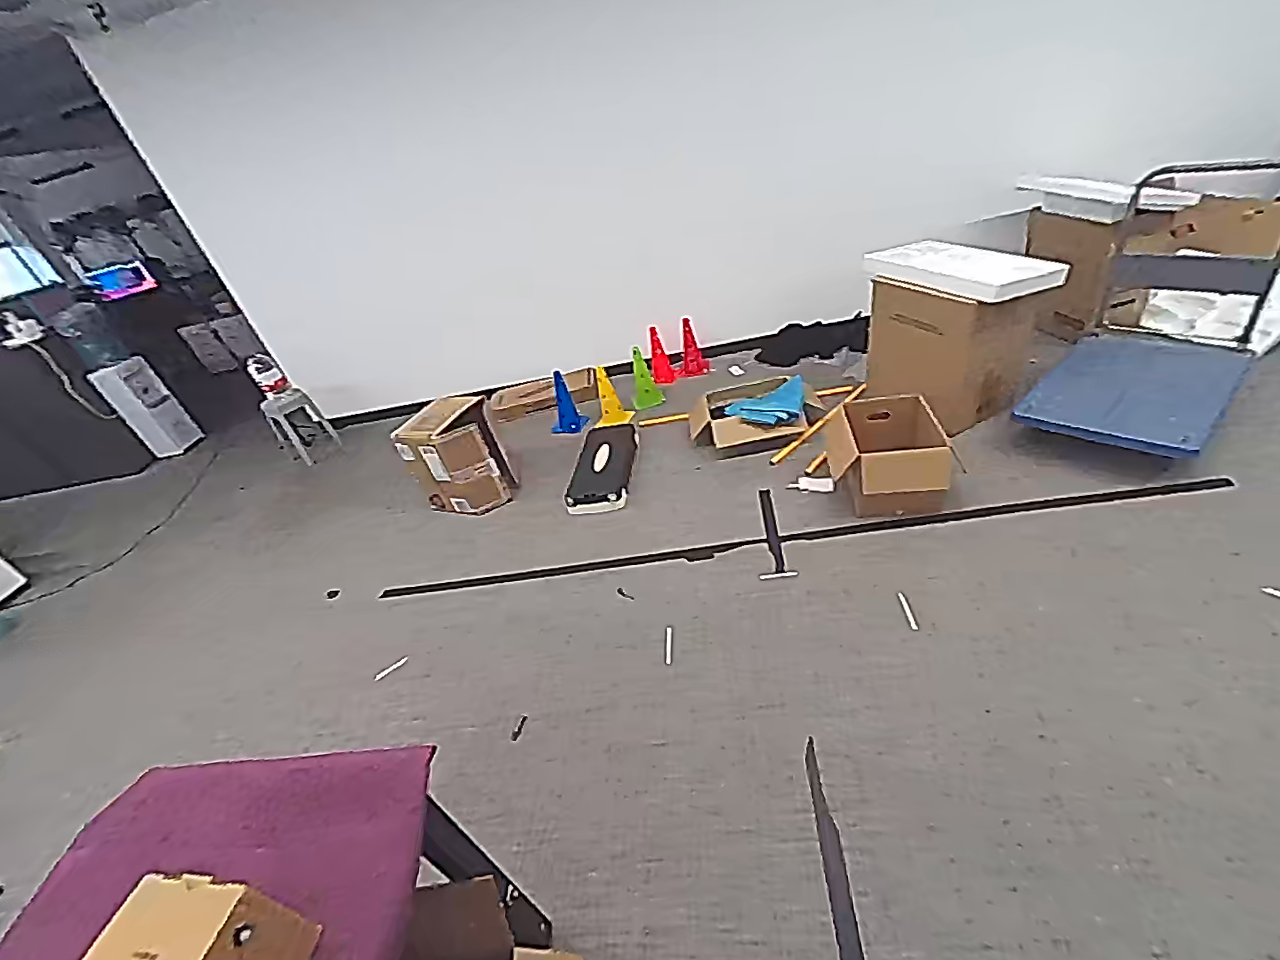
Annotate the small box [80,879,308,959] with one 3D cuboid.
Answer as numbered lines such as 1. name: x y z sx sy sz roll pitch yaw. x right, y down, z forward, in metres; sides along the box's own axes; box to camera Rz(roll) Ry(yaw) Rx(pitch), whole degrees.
1. small box: -0.542 0.608 0.636 0.168 0.176 0.179 -6 35 14
